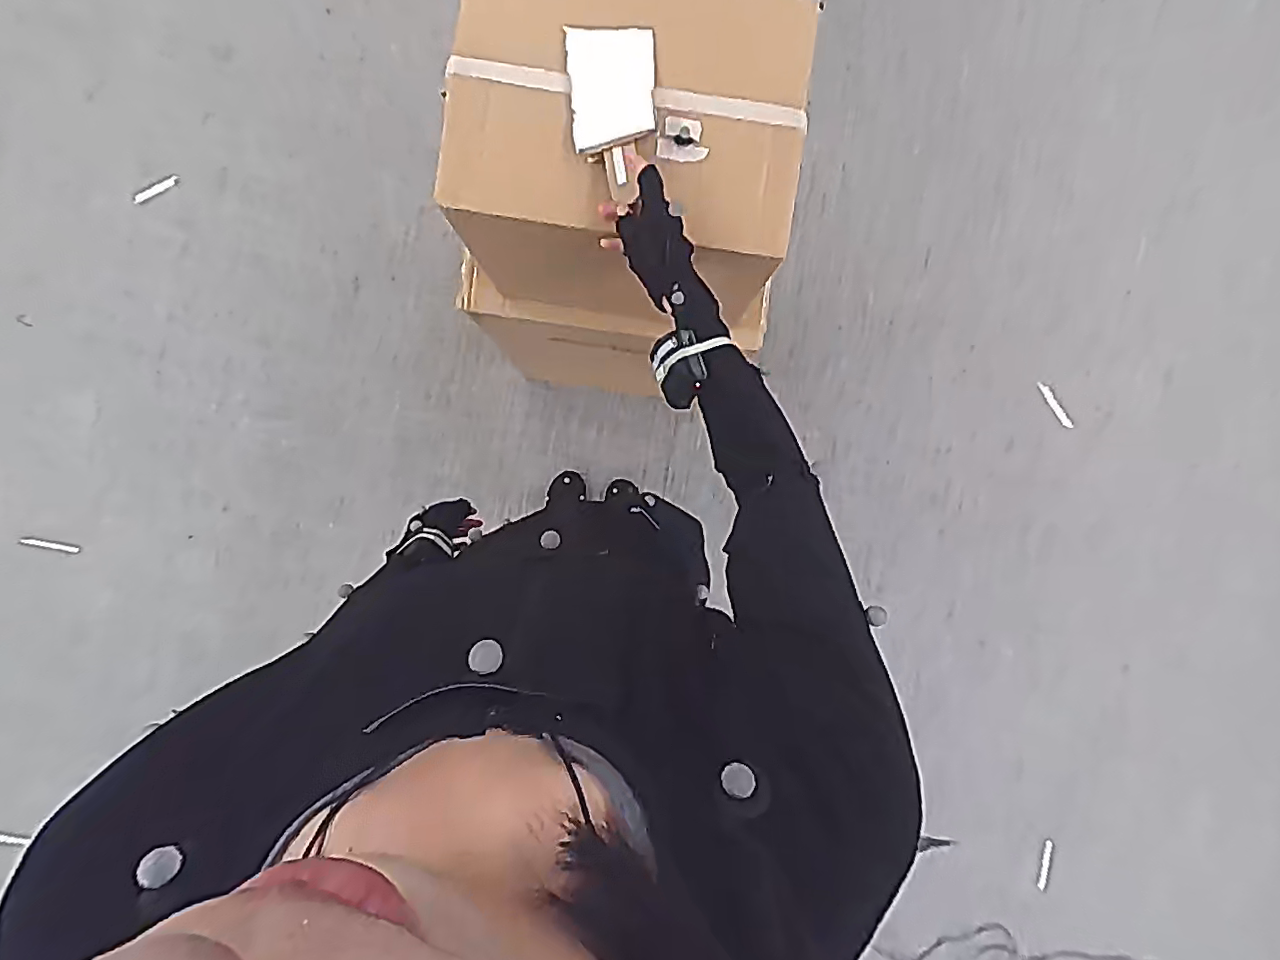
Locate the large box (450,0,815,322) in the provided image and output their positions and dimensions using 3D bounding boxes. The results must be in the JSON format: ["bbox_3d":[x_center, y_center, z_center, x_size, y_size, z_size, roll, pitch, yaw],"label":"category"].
[{"bbox_3d":[-0.015,-0.444,0.777,0.408,0.320,0.320,8,91,-3],"label":"large box"}]
